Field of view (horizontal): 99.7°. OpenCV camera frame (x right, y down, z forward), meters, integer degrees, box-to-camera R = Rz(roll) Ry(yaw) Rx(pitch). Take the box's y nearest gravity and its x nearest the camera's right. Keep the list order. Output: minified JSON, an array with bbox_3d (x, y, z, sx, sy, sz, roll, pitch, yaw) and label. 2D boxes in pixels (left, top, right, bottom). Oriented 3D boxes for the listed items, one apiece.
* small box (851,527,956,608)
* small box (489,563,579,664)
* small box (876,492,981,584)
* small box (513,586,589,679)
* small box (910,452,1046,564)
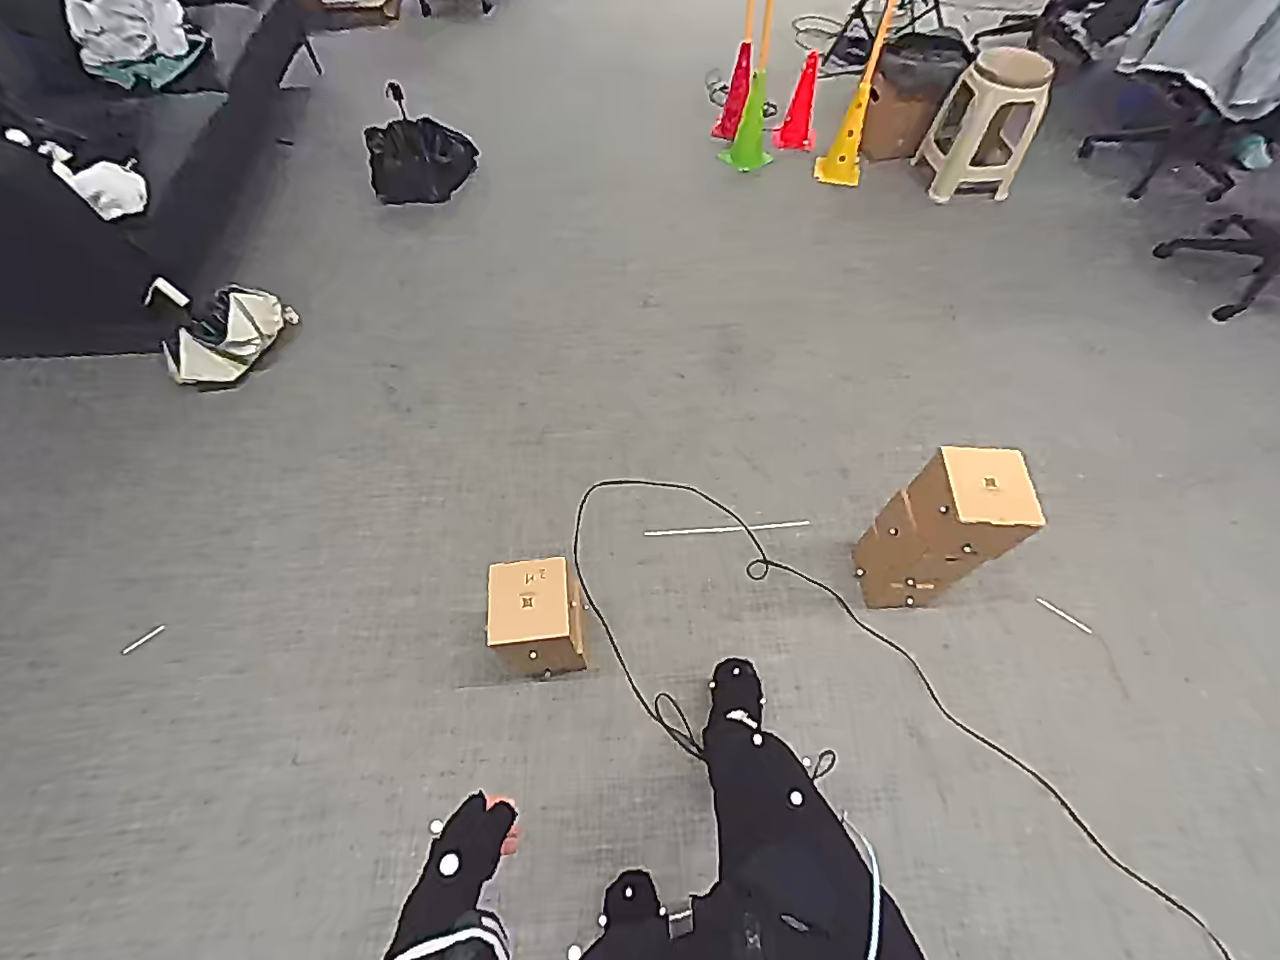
[{"bbox_3d":[0.682,0.231,1.422,0.168,0.176,0.179,-3,61,-5],"label":"small box"},{"bbox_3d":[-0.228,0.300,1.191,0.168,0.176,0.179,-6,60,-3],"label":"small box"},{"bbox_3d":[0.687,0.143,1.281,0.168,0.176,0.179,-1,59,-1],"label":"small box"},{"bbox_3d":[-0.217,0.379,1.335,0.168,0.176,0.179,-6,60,-3],"label":"small box"},{"bbox_3d":[0.696,0.061,1.140,0.168,0.176,0.179,3,60,2],"label":"small box"}]
